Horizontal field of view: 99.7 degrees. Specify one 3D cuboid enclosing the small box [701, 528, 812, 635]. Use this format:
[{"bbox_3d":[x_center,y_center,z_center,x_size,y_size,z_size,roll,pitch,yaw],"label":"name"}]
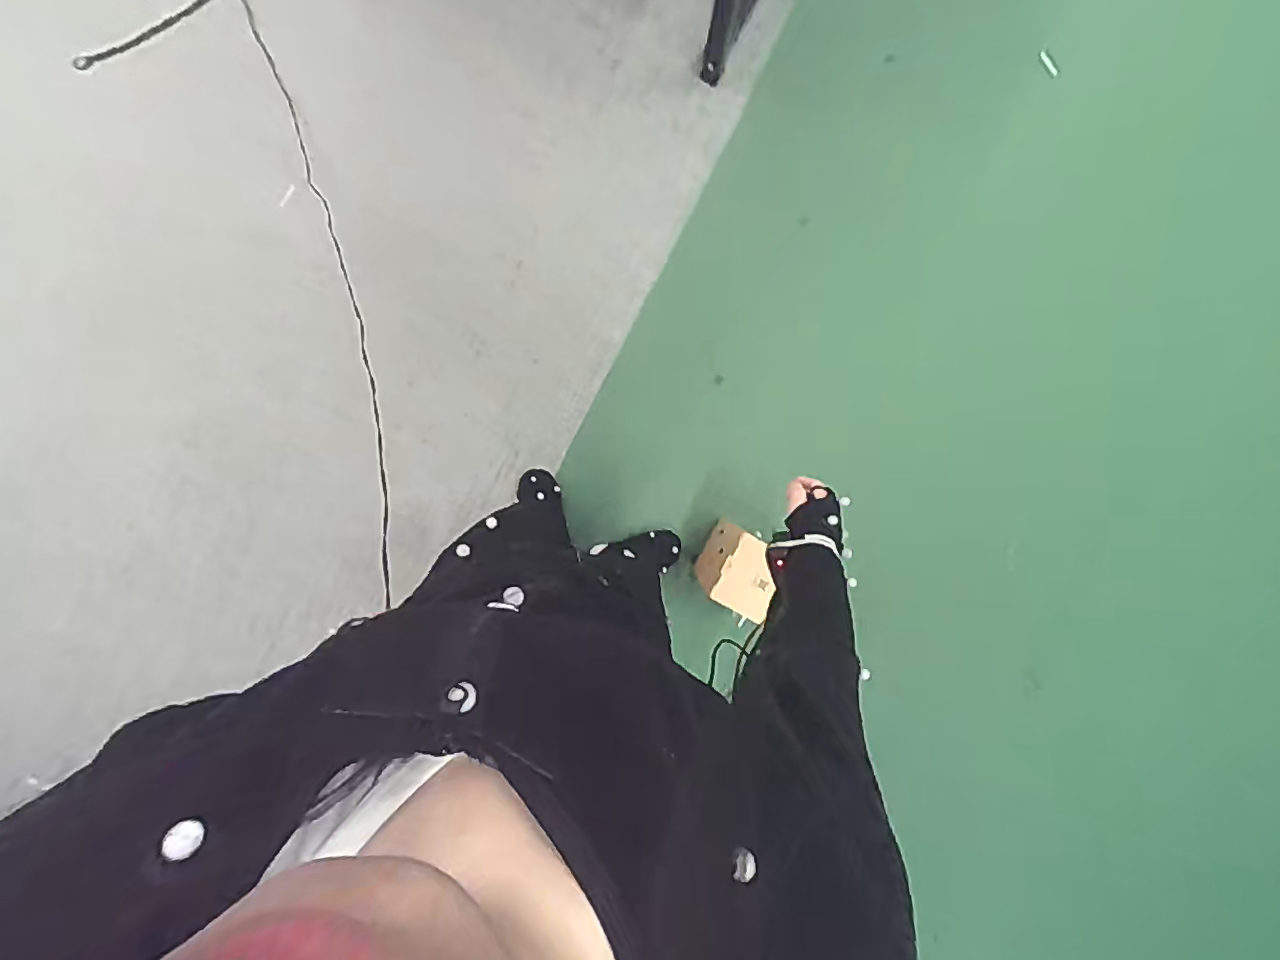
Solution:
[{"bbox_3d":[0.262,0.225,1.258,0.179,0.176,0.168,29,91,-2],"label":"small box"}]
